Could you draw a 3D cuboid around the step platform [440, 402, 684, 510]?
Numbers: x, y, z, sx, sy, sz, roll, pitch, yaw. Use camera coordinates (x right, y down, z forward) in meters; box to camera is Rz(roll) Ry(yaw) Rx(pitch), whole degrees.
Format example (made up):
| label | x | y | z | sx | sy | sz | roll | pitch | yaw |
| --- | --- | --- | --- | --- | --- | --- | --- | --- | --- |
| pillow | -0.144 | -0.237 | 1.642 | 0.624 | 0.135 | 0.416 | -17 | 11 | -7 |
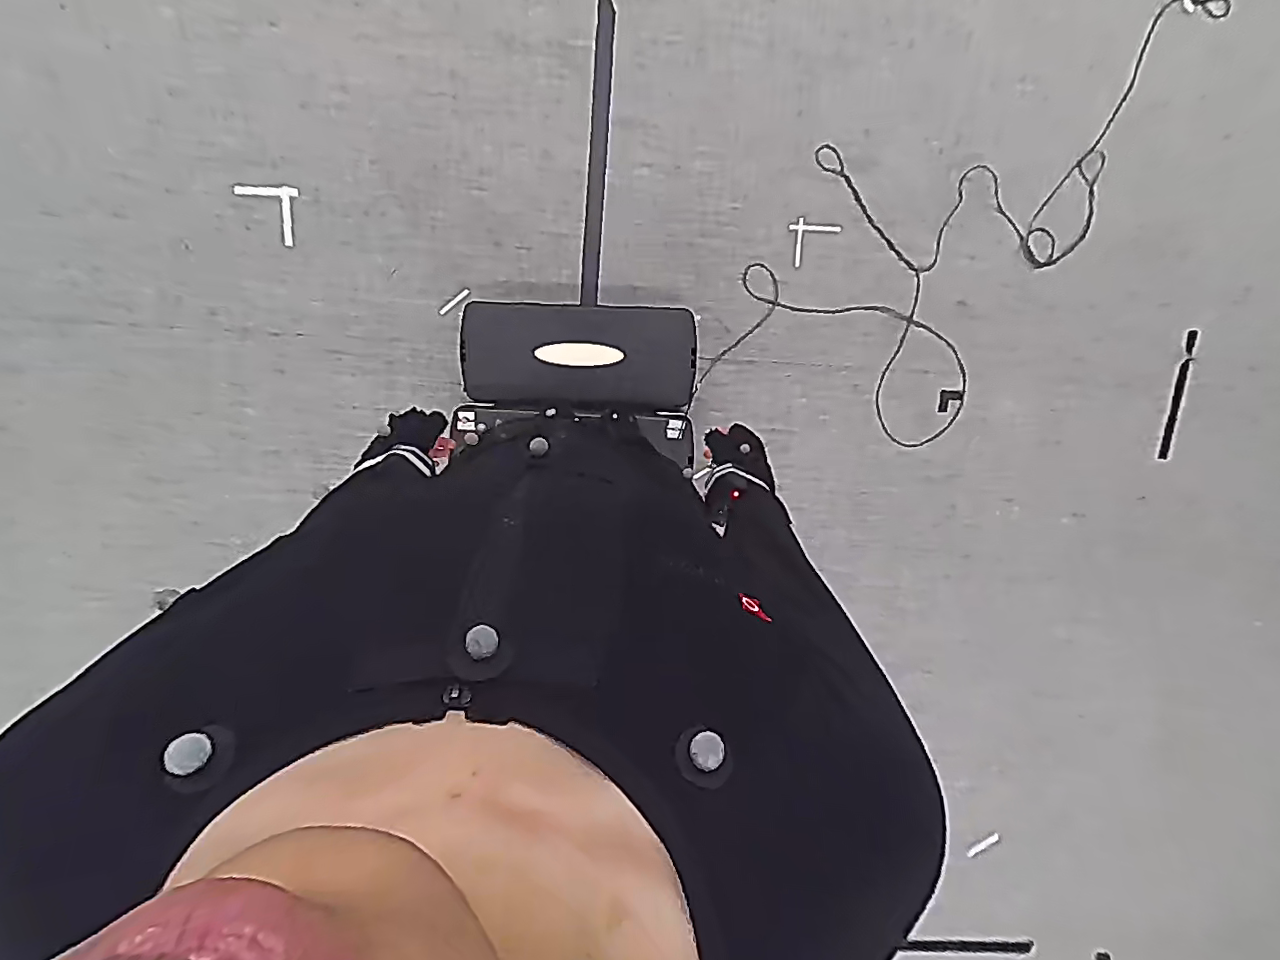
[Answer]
| label | x | y | z | sx | sy | sz | roll | pitch | yaw |
| --- | --- | --- | --- | --- | --- | --- | --- | --- | --- |
| step platform | -0.215 | -0.070 | 1.557 | 0.684 | 0.204 | 0.286 | 2 | 99 | -1 |
